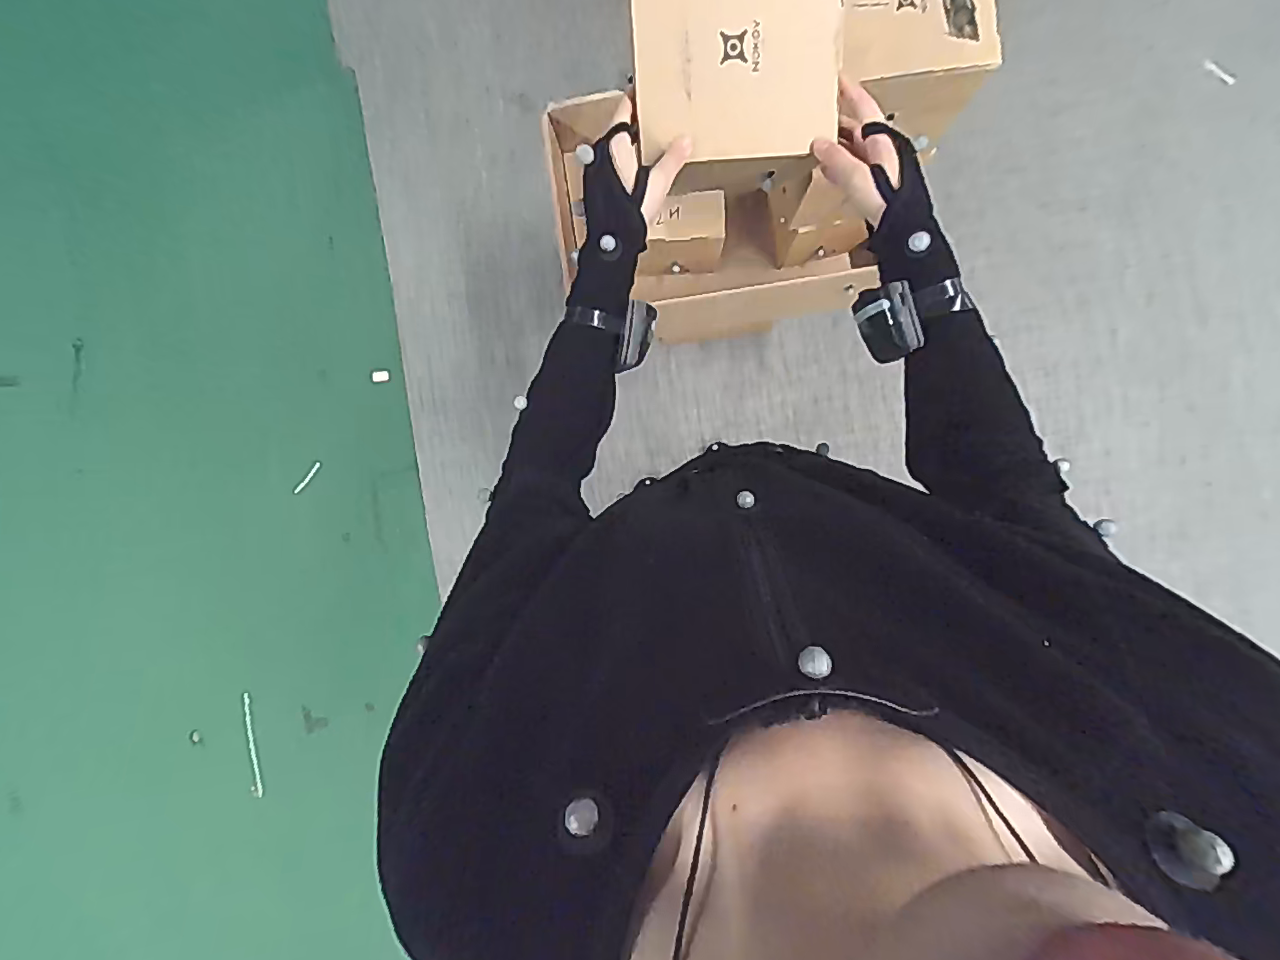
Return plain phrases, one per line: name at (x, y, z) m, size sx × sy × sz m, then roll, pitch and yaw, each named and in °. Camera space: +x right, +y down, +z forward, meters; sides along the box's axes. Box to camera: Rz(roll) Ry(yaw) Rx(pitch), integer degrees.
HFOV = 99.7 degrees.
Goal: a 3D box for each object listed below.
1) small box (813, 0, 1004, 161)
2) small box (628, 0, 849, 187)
small box at (0.305, -0.525, 0.662) m, size 0.179 × 0.176 × 0.168 m, roll -4°, pitch 91°, yaw 6°
small box at (0.080, -0.387, 0.515) m, size 0.179 × 0.176 × 0.168 m, roll -3°, pitch 110°, yaw 0°
